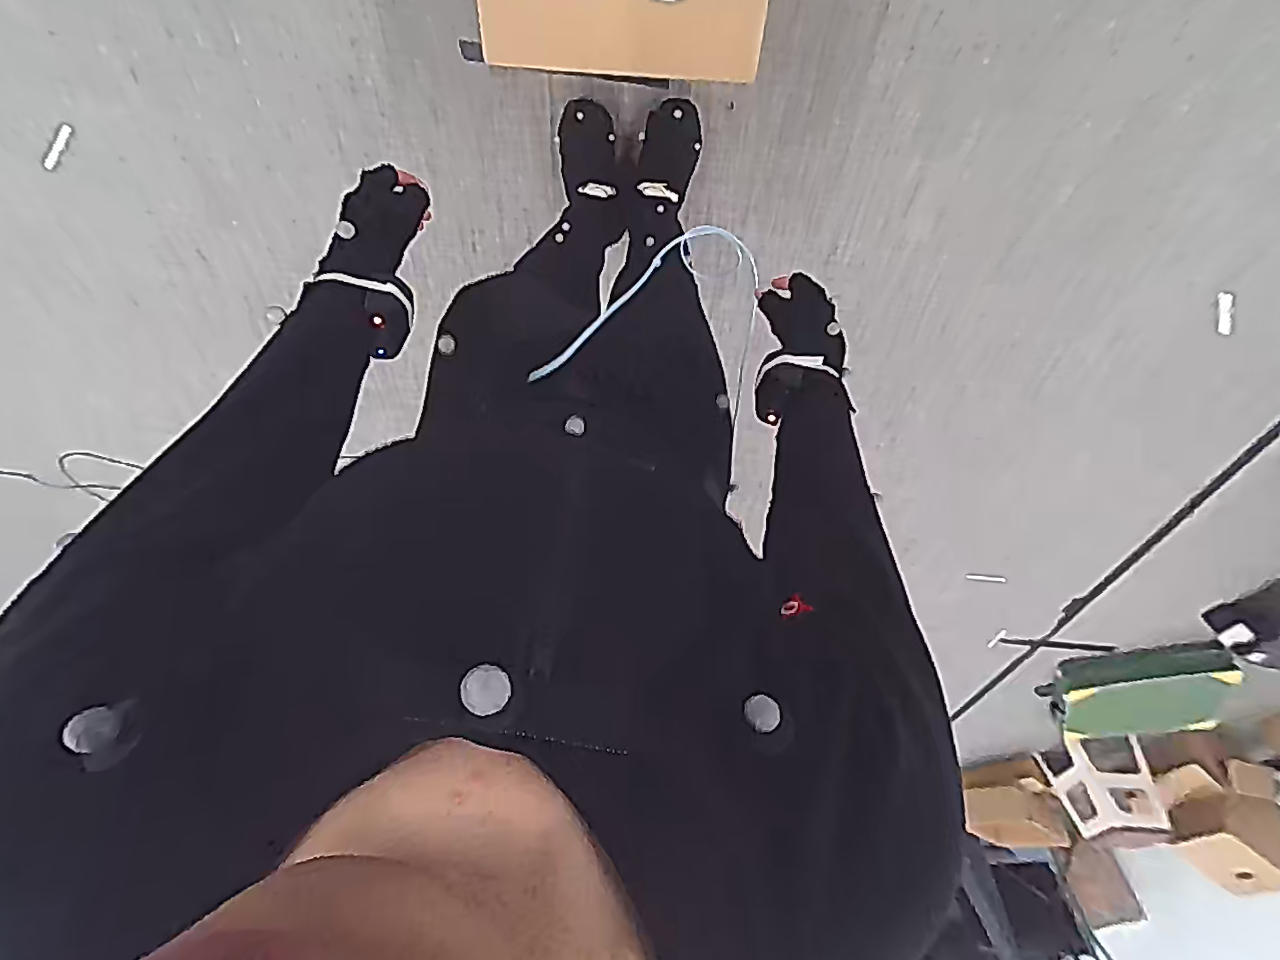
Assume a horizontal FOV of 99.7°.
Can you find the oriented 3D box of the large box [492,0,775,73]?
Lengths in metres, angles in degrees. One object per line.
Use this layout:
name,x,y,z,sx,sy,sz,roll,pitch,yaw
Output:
large box,-0.003,-0.827,0.801,0.408,0.320,0.320,4,135,0
